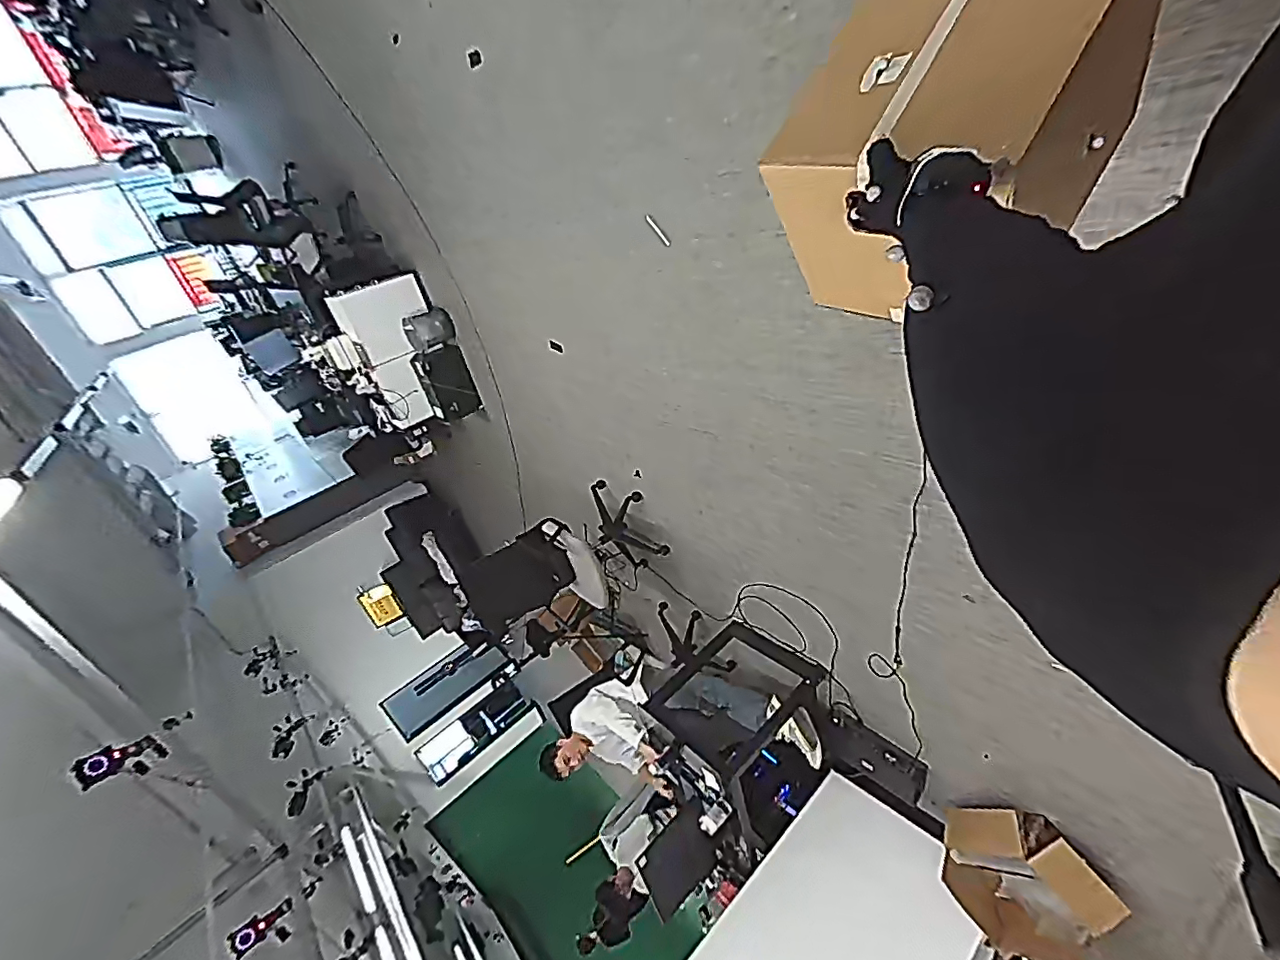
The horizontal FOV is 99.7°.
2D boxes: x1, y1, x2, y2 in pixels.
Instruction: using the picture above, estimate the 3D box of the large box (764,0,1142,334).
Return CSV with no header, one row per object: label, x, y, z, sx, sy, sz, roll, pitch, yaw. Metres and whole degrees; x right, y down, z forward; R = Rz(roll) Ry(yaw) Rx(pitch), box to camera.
large box,0.448,-0.489,0.781,0.320,0.408,0.320,28,177,39
